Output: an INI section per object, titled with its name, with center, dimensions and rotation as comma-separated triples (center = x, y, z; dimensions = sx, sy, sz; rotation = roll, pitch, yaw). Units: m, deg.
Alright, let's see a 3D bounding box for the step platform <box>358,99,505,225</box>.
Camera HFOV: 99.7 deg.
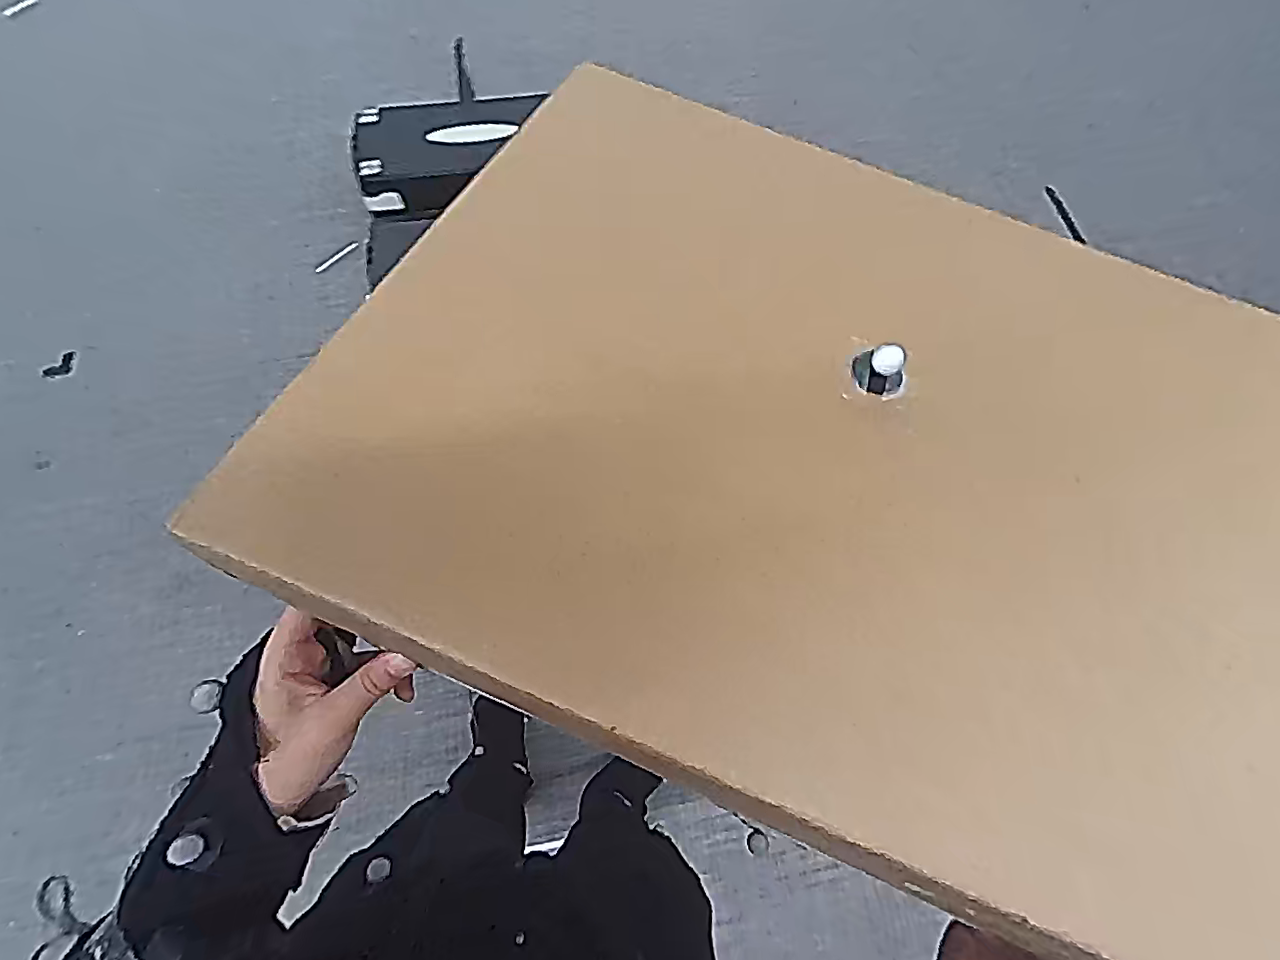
[step platform]
center = -0.452, -0.940, 1.591
dimensions = 0.684, 0.204, 0.286
rotation = -3, 71, -4
